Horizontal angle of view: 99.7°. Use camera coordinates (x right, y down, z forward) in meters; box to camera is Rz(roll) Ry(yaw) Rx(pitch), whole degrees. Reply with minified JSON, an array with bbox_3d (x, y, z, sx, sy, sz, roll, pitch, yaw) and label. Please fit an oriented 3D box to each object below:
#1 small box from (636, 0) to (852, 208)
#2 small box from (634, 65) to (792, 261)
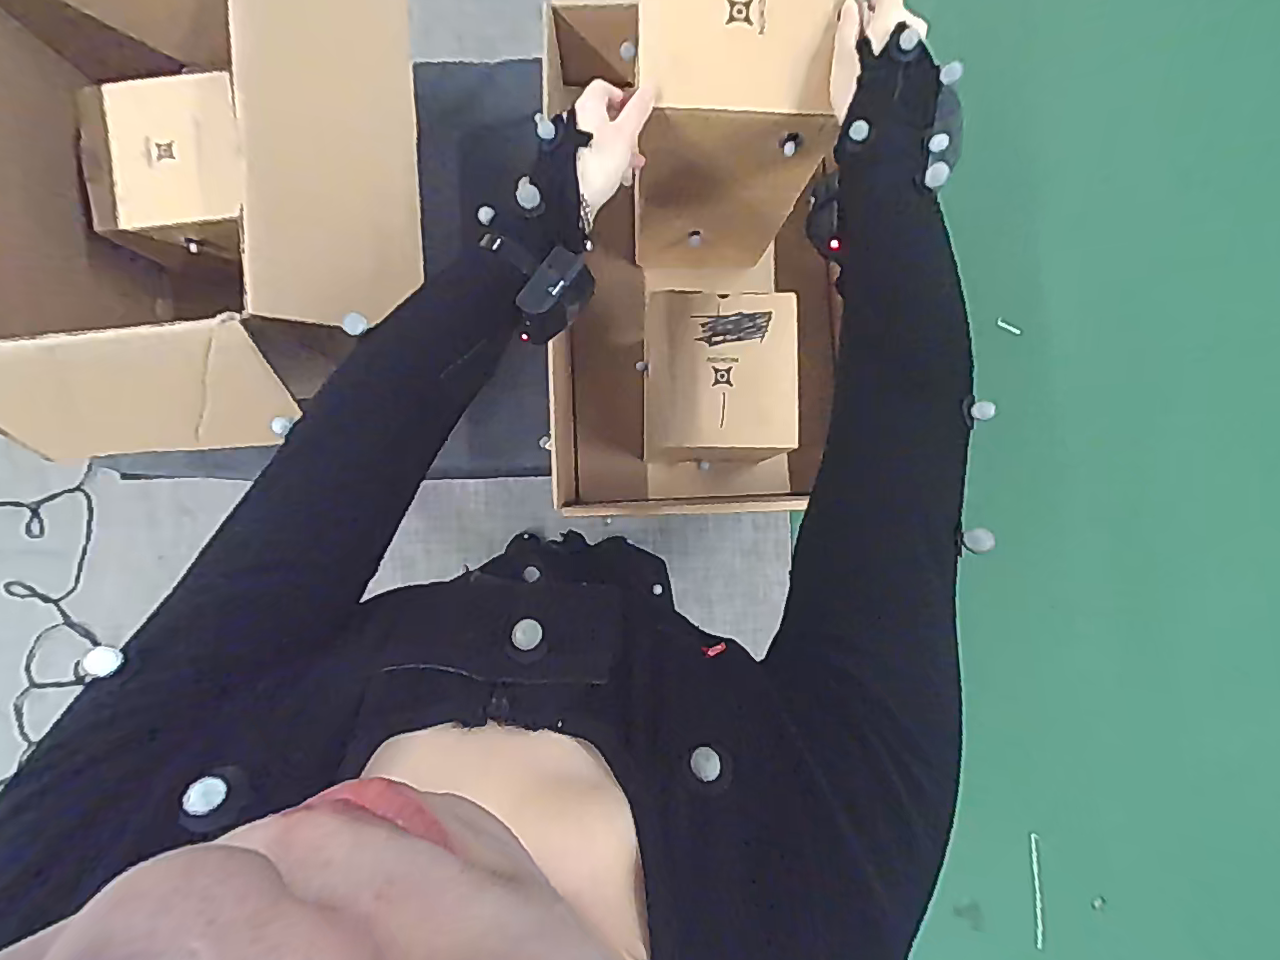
[{"bbox_3d":[0.085,-0.384,0.523,0.179,0.176,0.168,0,91,-3],"label":"small box"},{"bbox_3d":[0.083,-0.390,0.686,0.179,0.176,0.168,-2,92,-1],"label":"small box"}]
